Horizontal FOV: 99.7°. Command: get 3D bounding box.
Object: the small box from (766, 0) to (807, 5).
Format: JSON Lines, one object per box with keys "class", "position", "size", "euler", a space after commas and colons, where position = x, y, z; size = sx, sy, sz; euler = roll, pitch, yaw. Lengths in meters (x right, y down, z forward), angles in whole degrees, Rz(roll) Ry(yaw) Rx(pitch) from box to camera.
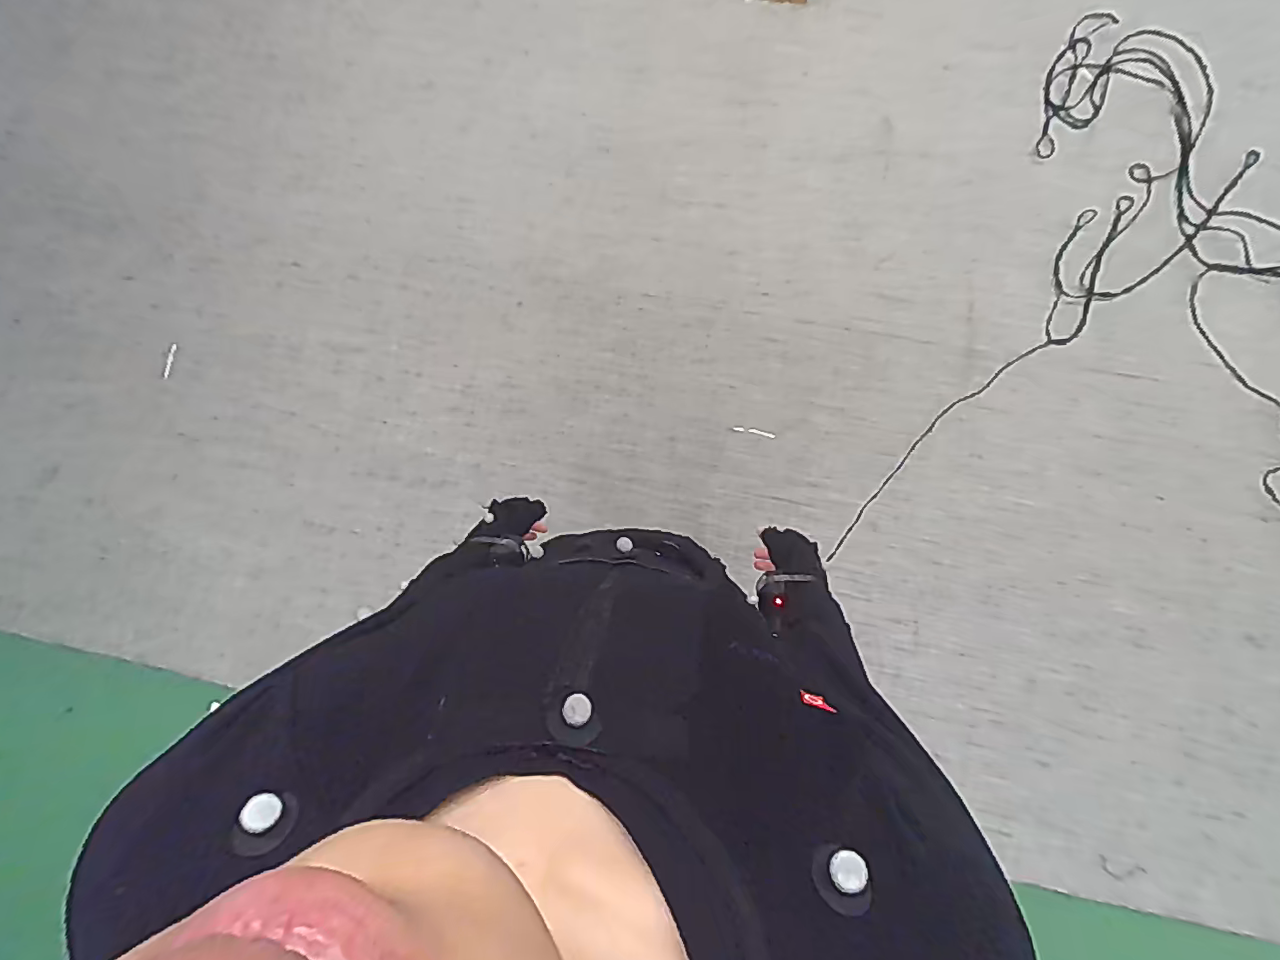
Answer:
{"class": "small box", "position": [0.424, -1.514, 1.534], "size": [0.168, 0.176, 0.179], "euler": [9, 86, 5]}
